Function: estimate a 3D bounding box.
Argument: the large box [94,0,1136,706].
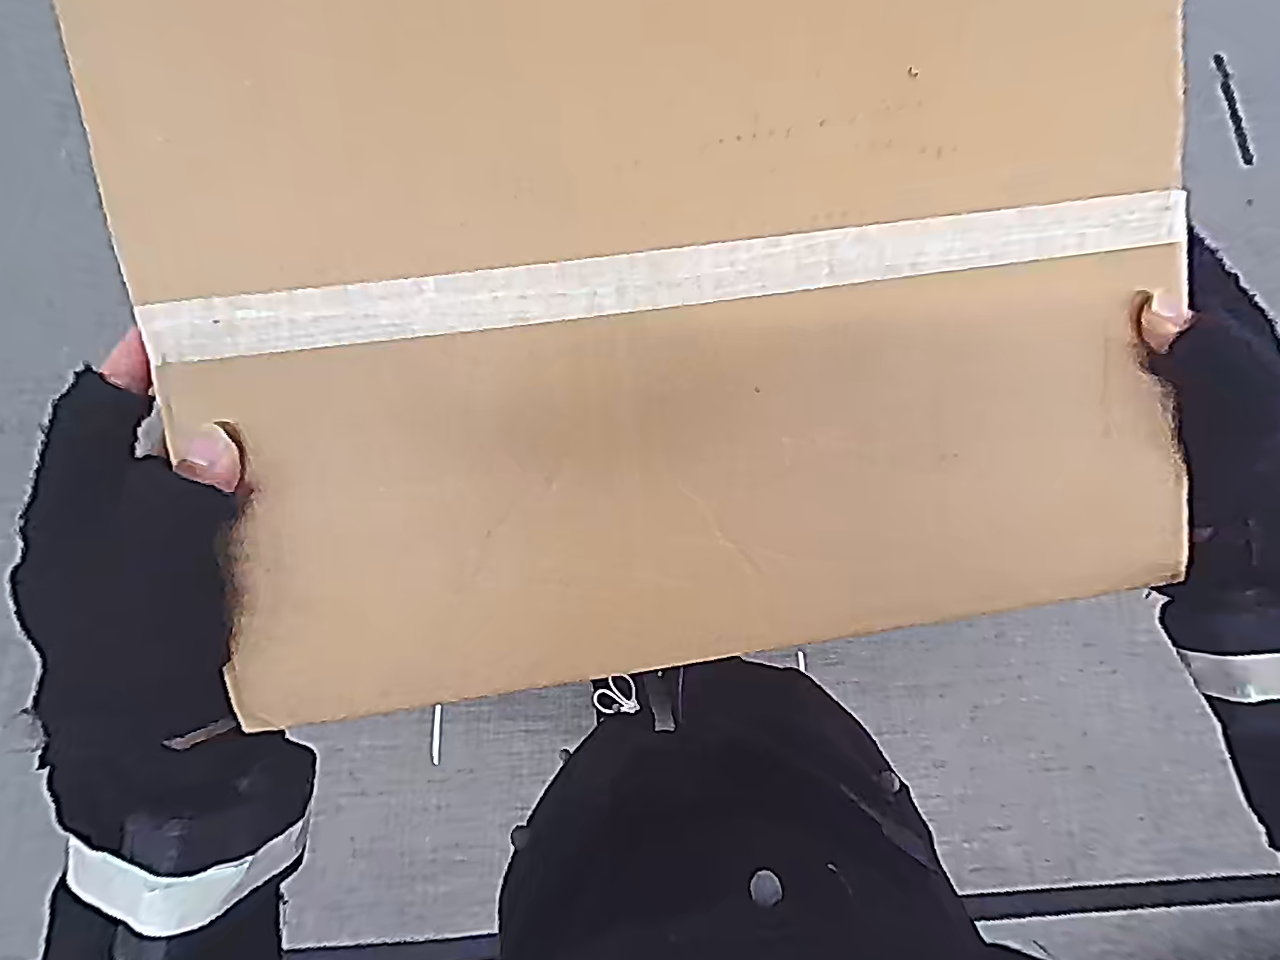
[{"bbox_3d":[0.006,-0.102,0.370,0.408,0.320,0.320,-8,97,-4],"label":"large box"}]
